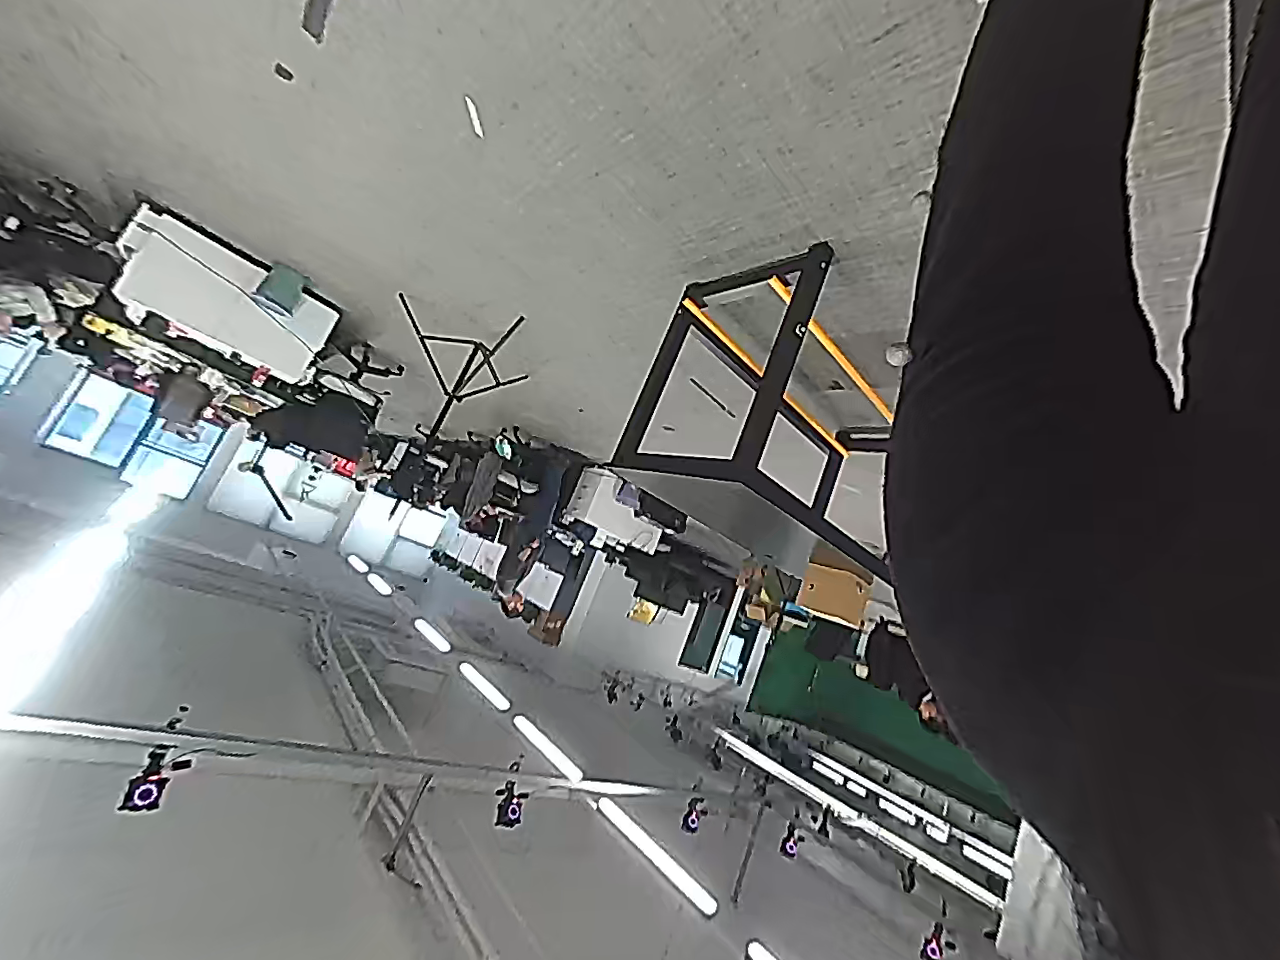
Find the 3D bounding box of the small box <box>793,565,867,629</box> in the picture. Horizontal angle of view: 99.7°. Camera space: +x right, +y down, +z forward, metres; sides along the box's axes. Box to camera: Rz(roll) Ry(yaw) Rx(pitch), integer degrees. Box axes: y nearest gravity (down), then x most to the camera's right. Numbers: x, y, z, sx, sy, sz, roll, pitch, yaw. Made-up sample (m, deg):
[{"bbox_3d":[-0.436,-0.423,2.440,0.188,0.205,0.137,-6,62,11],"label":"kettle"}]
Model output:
[{"bbox_3d":[0.693,0.418,1.962,0.168,0.176,0.179,30,166,-37],"label":"small box"}]
